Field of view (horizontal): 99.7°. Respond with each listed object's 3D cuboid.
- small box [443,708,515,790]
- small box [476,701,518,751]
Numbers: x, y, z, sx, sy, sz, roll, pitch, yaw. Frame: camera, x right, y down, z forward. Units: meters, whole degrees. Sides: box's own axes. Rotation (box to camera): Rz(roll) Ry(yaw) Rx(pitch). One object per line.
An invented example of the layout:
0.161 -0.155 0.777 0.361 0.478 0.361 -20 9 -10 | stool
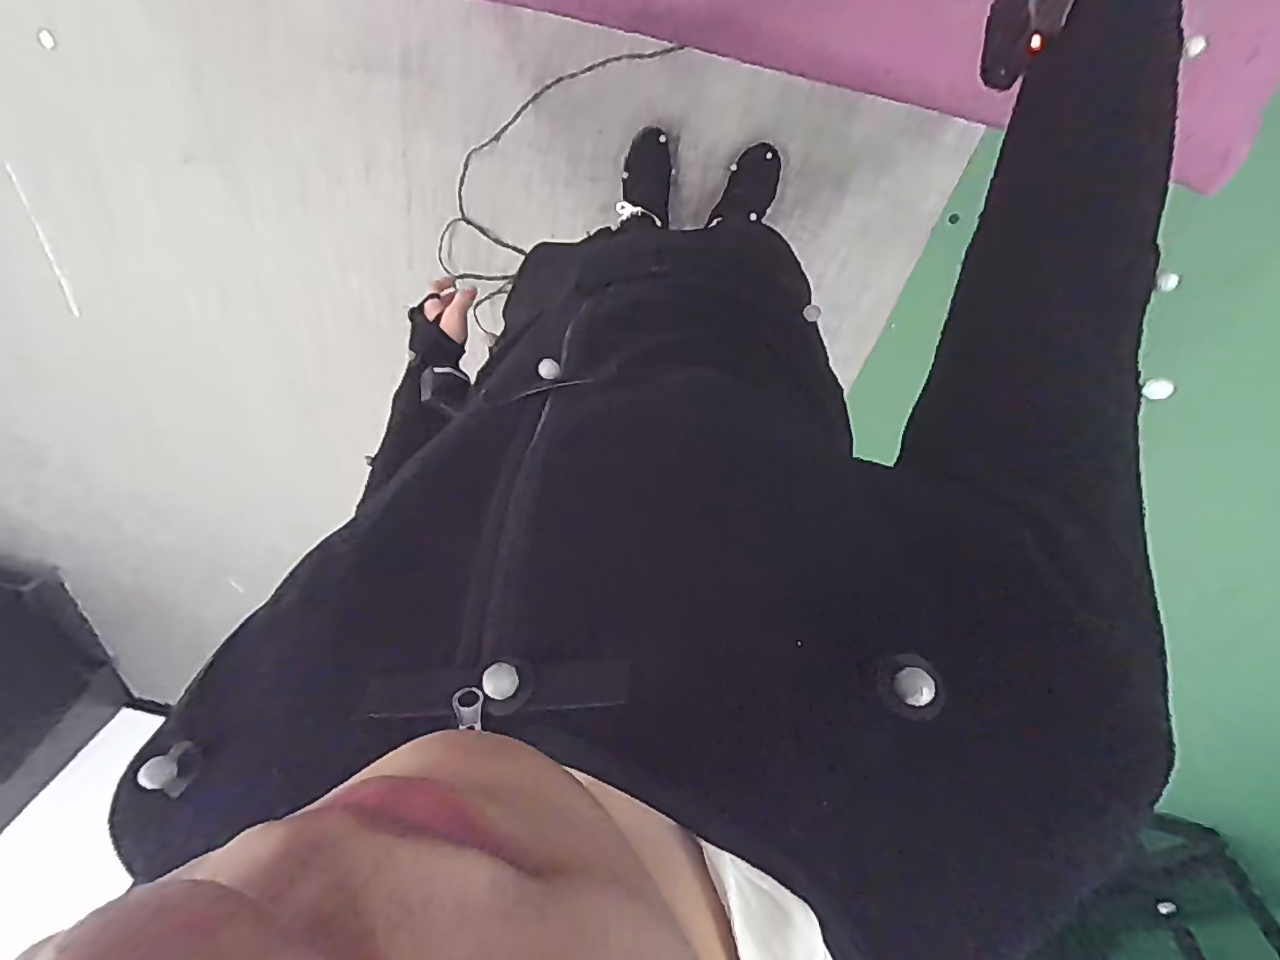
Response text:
-0.531 0.892 1.798 0.168 0.176 0.179 22 127 -6 | small box
-0.580 0.986 2.080 0.168 0.176 0.179 16 125 -3 | small box
